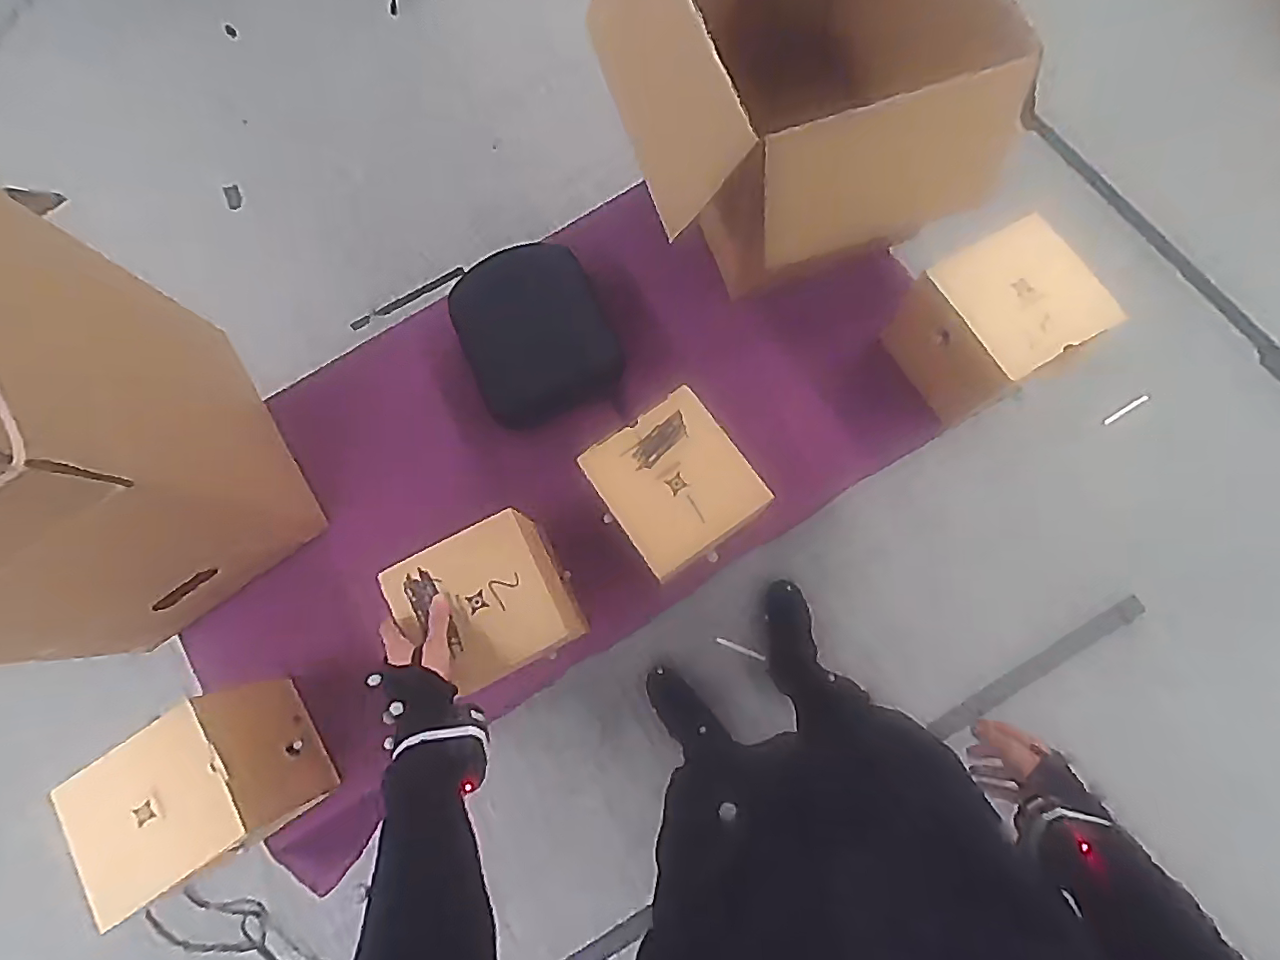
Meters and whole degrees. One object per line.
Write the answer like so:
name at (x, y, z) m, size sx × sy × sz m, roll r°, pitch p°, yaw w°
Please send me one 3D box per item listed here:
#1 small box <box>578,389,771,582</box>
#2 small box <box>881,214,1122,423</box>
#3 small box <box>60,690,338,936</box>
small box at (0.042, 0.019, 0.709) m, size 0.168 × 0.176 × 0.179 m, roll -35°, pitch 78°, yaw -4°
small box at (0.462, -0.205, 0.728) m, size 0.168 × 0.176 × 0.179 m, roll -29°, pitch 76°, yaw -2°
small box at (-0.523, 0.385, 0.664) m, size 0.179 × 0.176 × 0.168 m, roll -35°, pitch 77°, yaw -6°
